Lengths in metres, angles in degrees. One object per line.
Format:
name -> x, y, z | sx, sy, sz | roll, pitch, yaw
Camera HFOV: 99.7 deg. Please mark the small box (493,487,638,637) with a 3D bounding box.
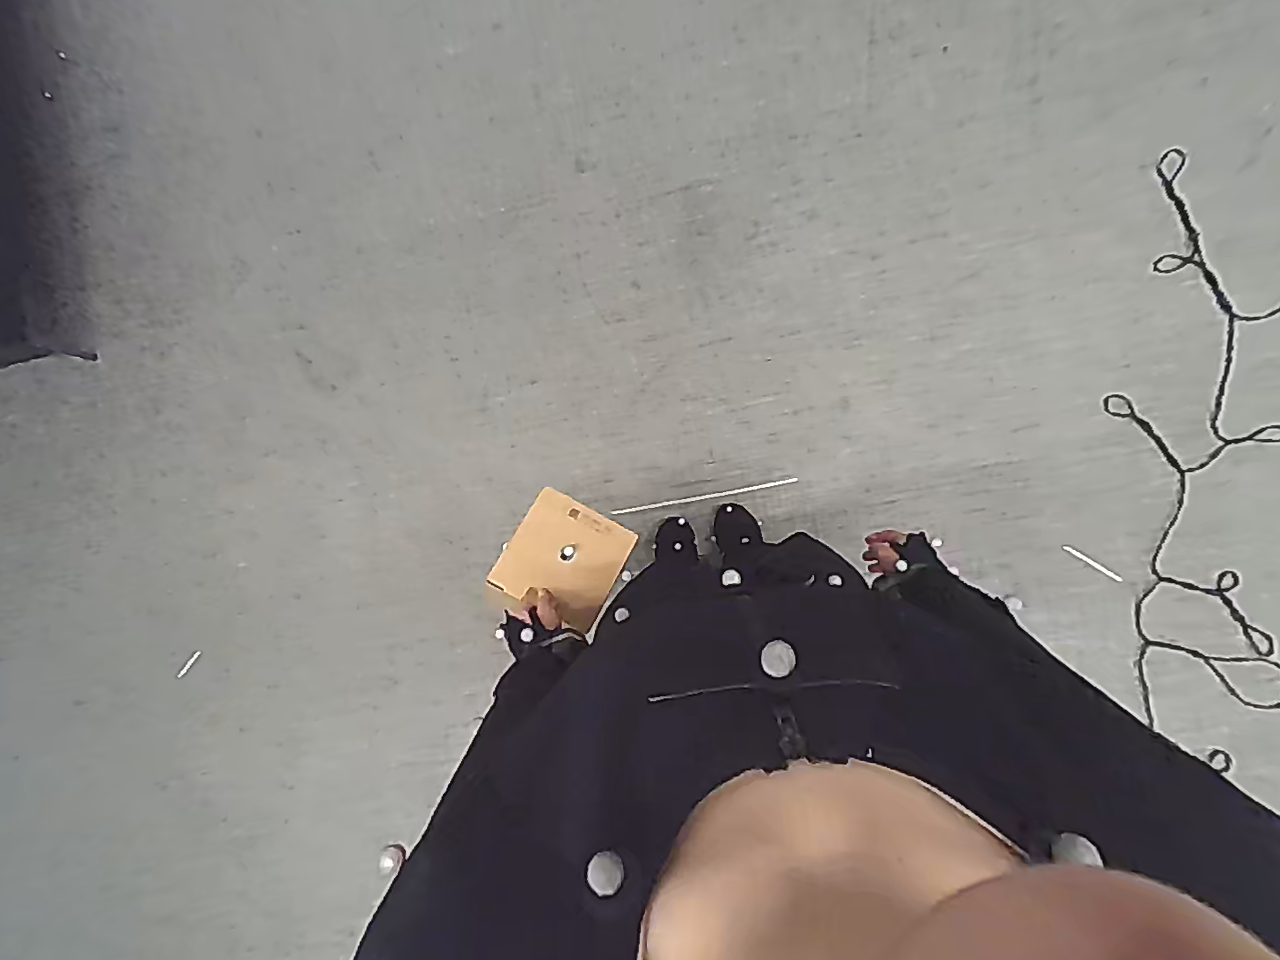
small box -> -0.119, 0.134, 0.867 | 0.168, 0.179, 0.176 | 29, 68, -1
